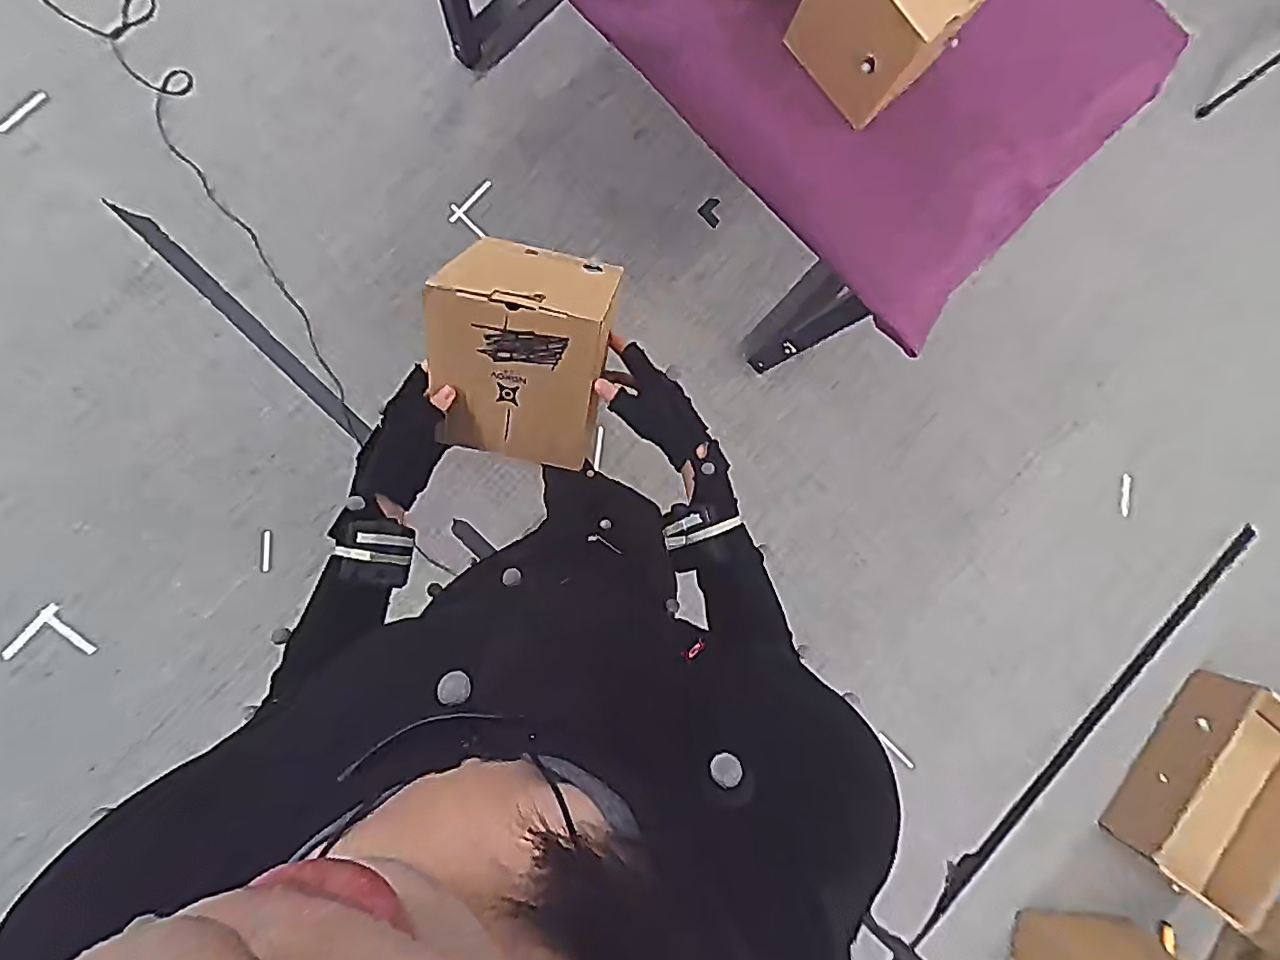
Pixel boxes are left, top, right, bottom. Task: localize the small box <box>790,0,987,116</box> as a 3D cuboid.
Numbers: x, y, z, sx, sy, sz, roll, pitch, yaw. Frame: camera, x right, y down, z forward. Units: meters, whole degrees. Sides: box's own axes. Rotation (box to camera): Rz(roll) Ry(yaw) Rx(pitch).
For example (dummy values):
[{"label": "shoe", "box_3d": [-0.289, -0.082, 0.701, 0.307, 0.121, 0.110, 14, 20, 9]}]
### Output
[{"label": "small box", "box_3d": [0.341, -0.642, 0.733, 0.168, 0.176, 0.179, -44, 93, -6]}]
